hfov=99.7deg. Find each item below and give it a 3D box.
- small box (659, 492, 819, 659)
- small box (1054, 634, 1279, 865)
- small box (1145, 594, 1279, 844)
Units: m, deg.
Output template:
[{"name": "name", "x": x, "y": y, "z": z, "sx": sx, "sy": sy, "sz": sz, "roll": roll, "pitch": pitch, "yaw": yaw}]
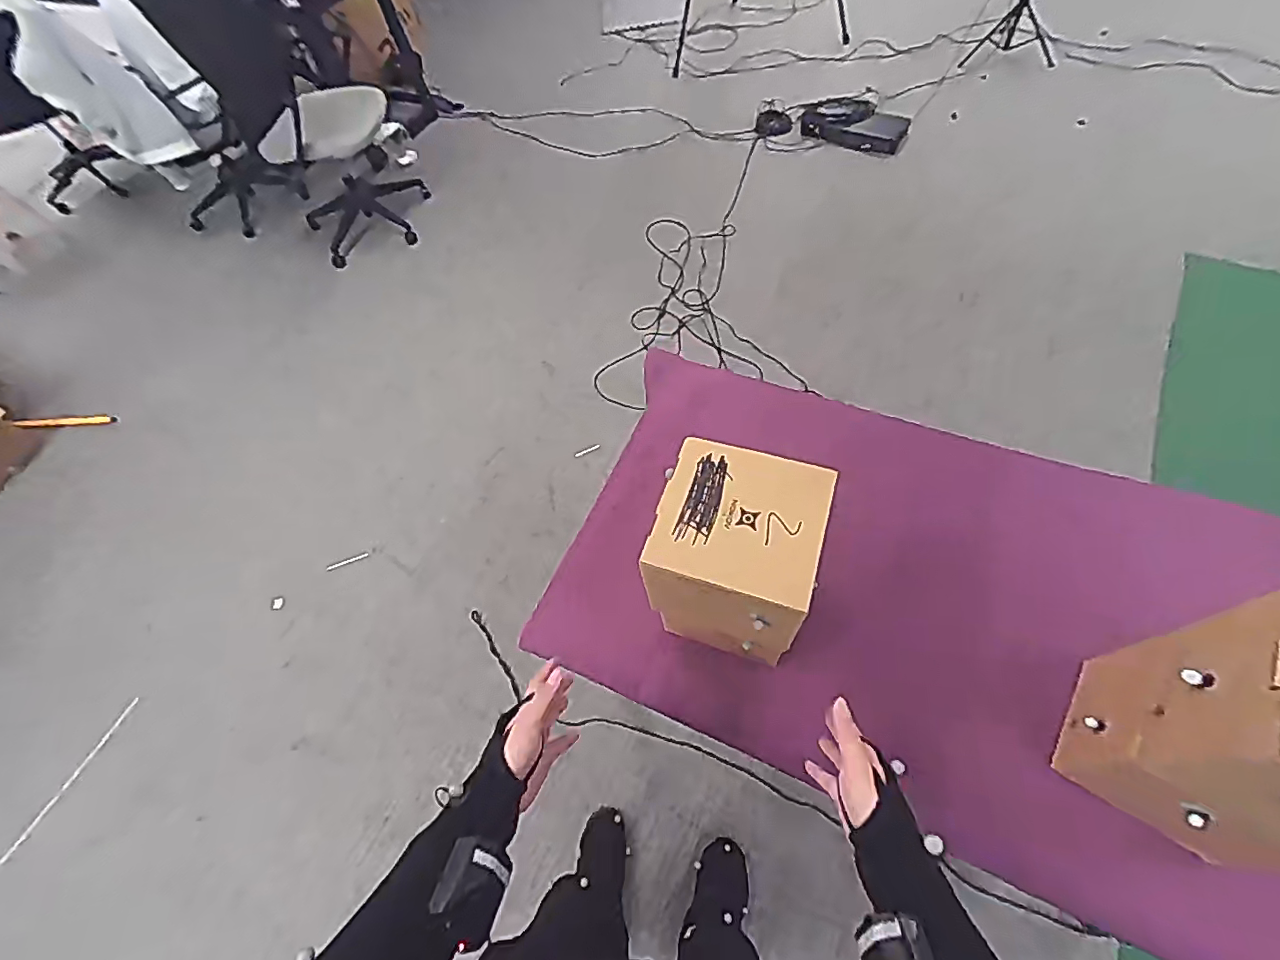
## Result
[{"name": "small box", "x": 0.141, "y": 0.145, "z": 0.785, "sx": 0.179, "sy": 0.176, "sz": 0.168, "roll": 16, "pitch": 63, "yaw": 16}, {"name": "small box", "x": 0.635, "y": 0.314, "z": 0.627, "sx": 0.179, "sy": 0.176, "sz": 0.168, "roll": 31, "pitch": 68, "yaw": 22}, {"name": "small box", "x": 0.617, "y": 0.233, "z": 0.486, "sx": 0.179, "sy": 0.176, "sz": 0.168, "roll": 27, "pitch": 68, "yaw": 22}]
